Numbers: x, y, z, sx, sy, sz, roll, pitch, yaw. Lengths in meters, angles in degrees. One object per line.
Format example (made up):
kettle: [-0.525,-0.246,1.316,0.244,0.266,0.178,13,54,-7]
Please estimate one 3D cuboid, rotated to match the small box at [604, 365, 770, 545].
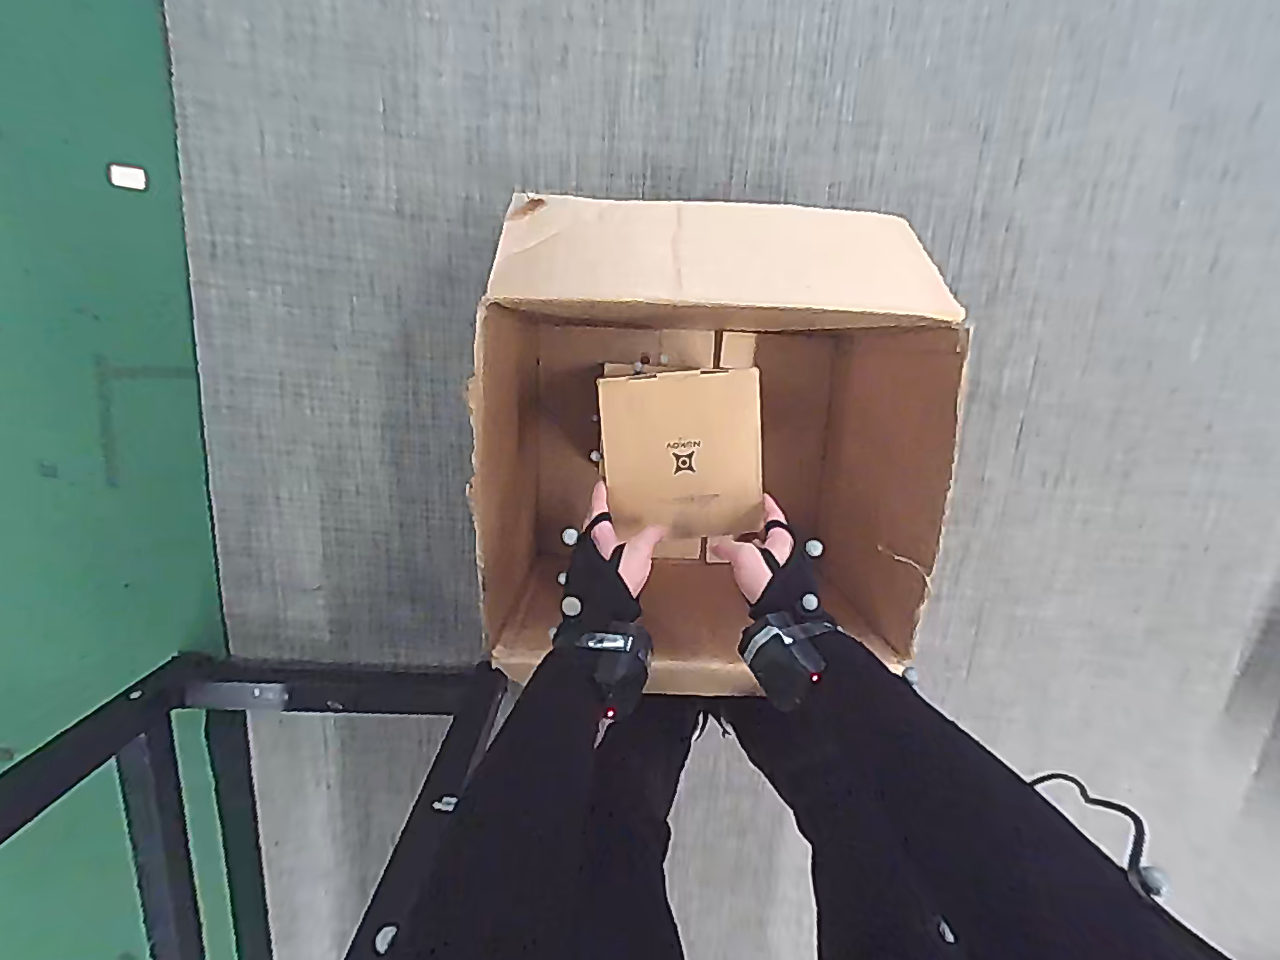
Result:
small box: [0.045,-0.039,0.626,0.168,0.176,0.179,-5,102,-3]
